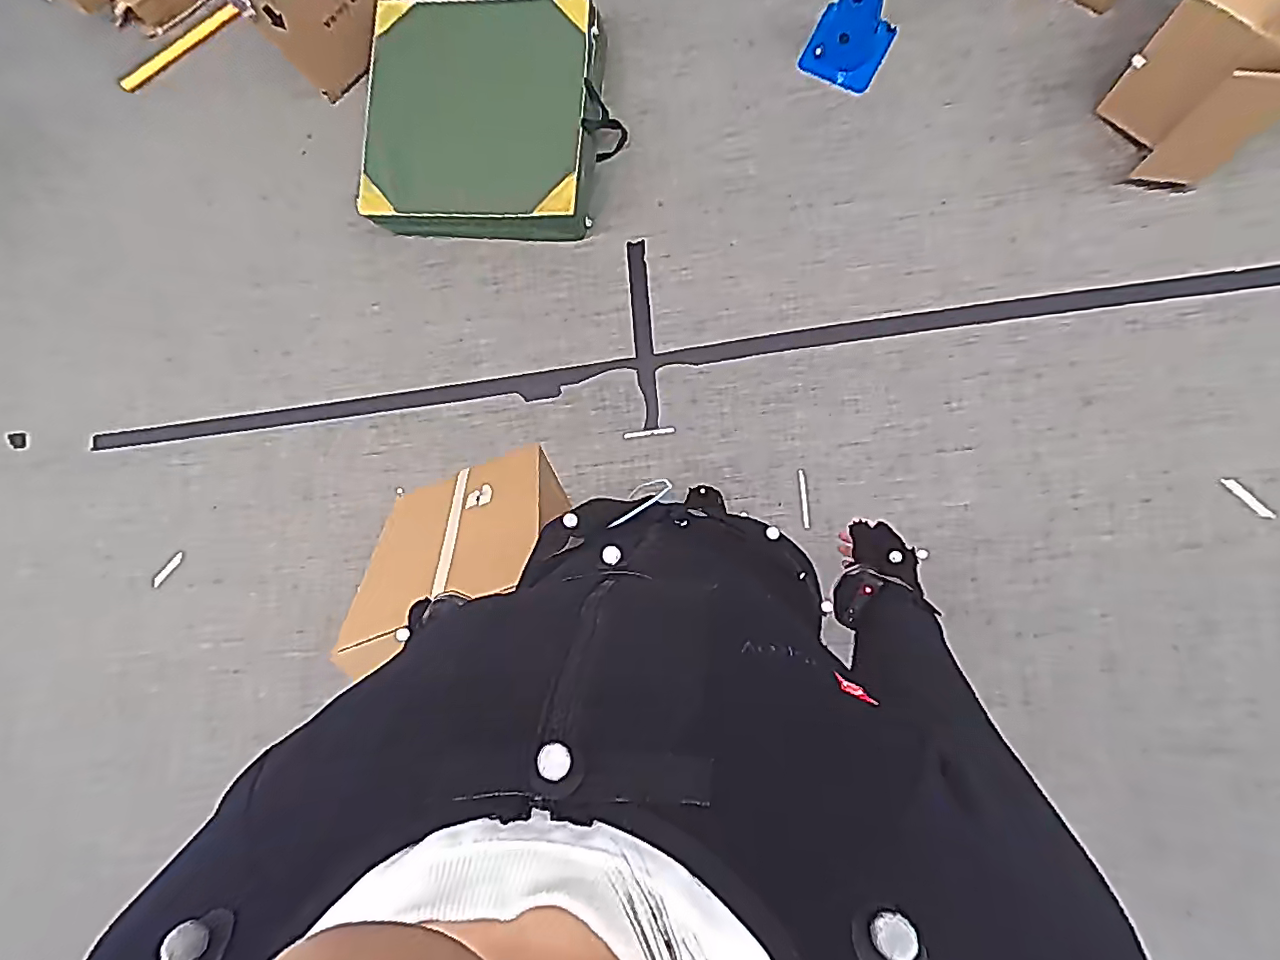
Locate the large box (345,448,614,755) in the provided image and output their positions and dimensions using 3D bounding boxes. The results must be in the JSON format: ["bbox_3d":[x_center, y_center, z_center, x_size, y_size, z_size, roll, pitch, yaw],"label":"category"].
[{"bbox_3d":[-0.261,0.206,1.003,0.320,0.408,0.320,-20,122,3],"label":"large box"}]
